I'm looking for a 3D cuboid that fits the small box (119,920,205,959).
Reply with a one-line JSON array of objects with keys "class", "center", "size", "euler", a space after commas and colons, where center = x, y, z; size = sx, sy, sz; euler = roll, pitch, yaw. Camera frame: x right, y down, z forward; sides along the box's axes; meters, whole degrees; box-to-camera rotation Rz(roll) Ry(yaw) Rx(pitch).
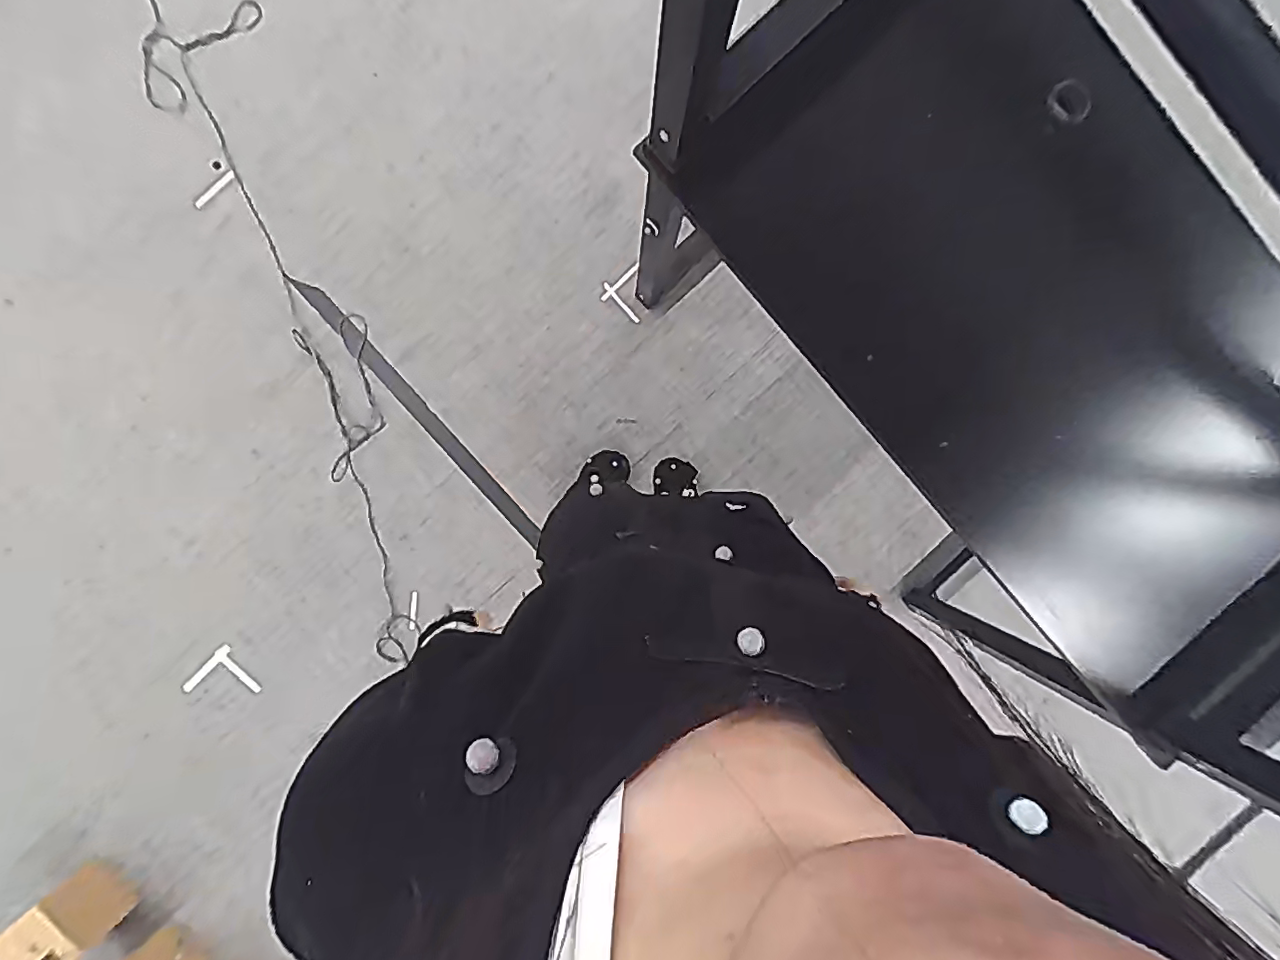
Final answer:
[{"class": "small box", "center": [-1.342, 1.358, 1.454], "size": [0.179, 0.176, 0.168], "euler": [-39, 96, 0]}]
